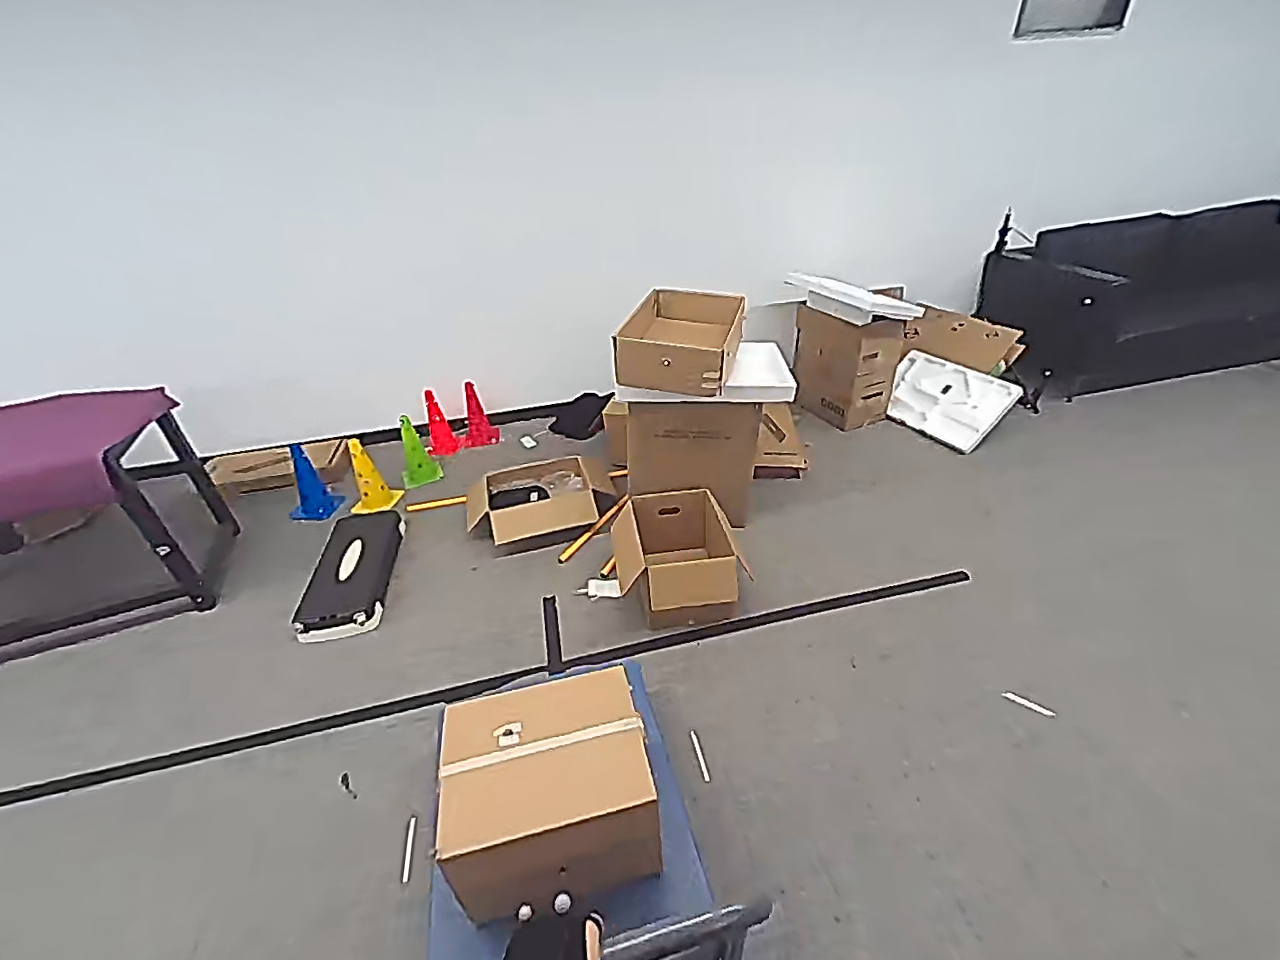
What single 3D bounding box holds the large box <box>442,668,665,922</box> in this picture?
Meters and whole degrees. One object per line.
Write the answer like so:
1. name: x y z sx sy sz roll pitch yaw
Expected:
1. large box: -0.184 0.679 1.190 0.408 0.320 0.320 -11 33 -9
